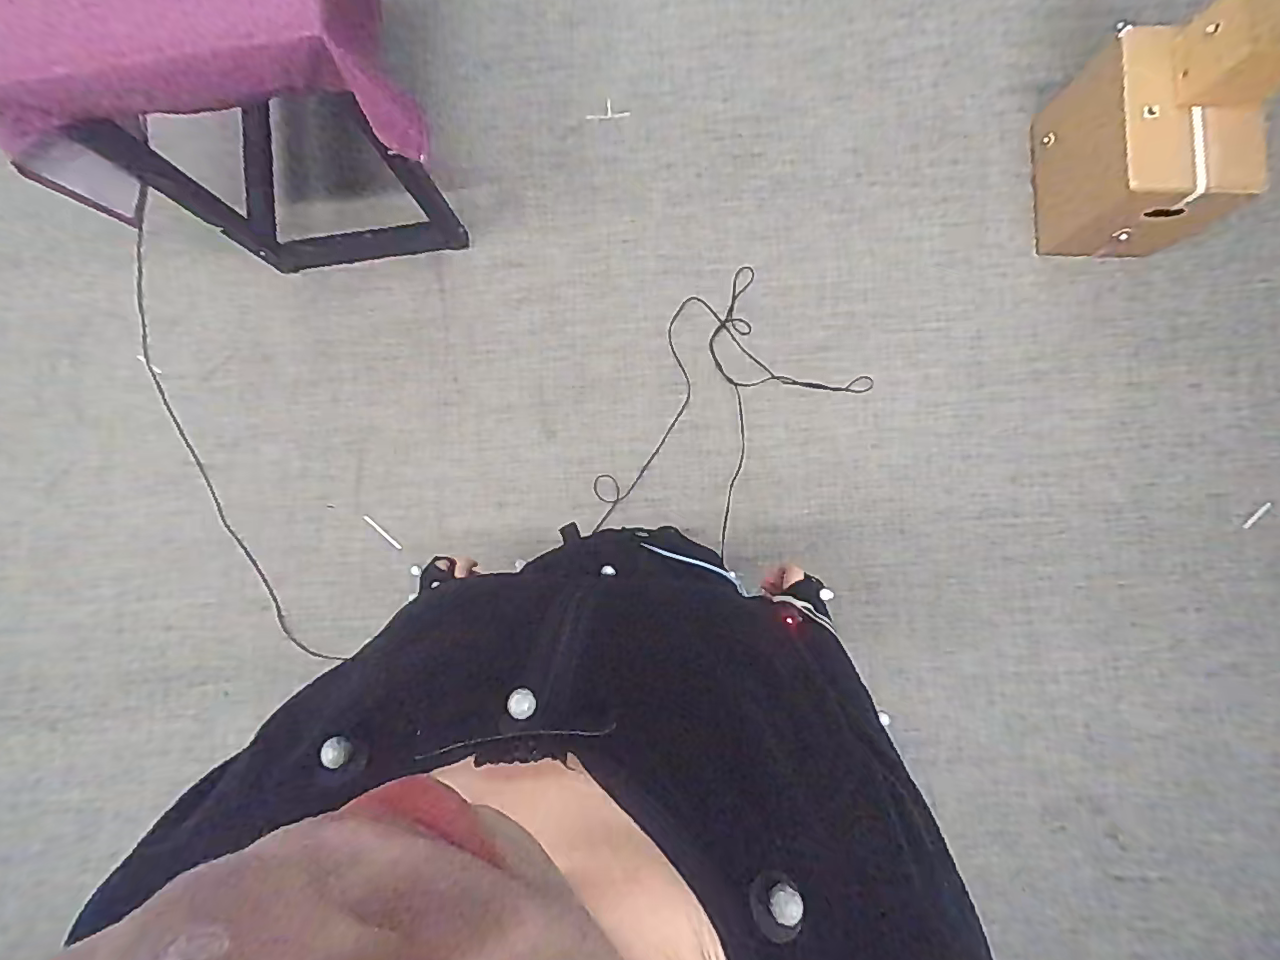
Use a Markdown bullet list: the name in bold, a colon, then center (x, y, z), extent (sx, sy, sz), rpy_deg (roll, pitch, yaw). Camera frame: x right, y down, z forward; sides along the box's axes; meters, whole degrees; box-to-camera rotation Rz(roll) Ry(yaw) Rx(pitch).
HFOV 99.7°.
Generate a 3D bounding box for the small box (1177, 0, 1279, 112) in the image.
- **small box**: center (1.321, -0.933, 1.168), extent (0.179, 0.176, 0.168), rpy_deg (2, 86, 0)
